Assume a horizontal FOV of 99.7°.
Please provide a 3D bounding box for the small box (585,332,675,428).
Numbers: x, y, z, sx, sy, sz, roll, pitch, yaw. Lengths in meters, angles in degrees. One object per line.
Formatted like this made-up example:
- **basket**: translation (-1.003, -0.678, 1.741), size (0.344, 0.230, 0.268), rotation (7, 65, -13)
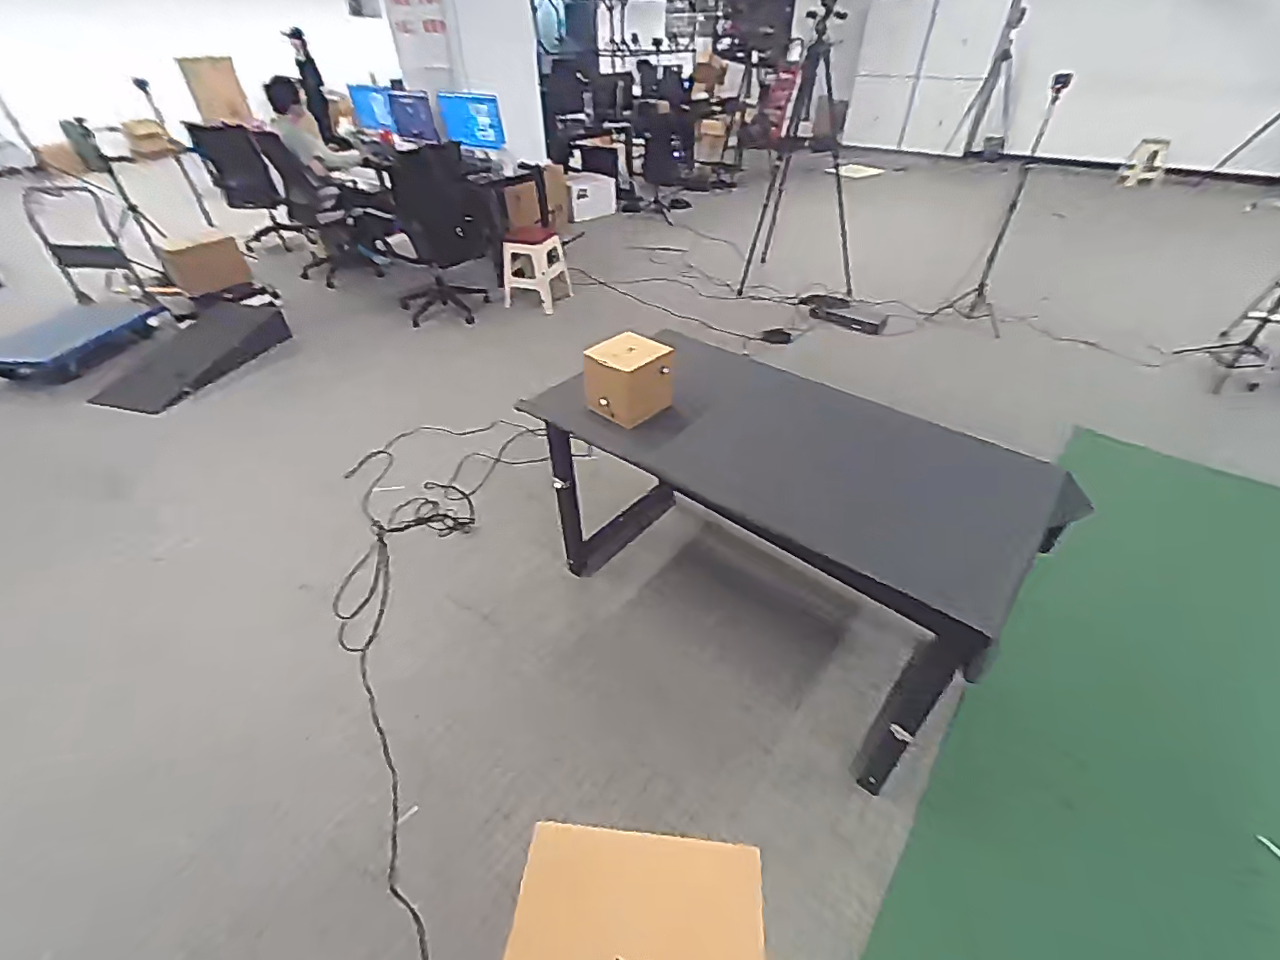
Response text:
- **small box**: translation (-0.028, -0.266, 1.435), size (0.168, 0.176, 0.179), rotation (31, 48, 32)
